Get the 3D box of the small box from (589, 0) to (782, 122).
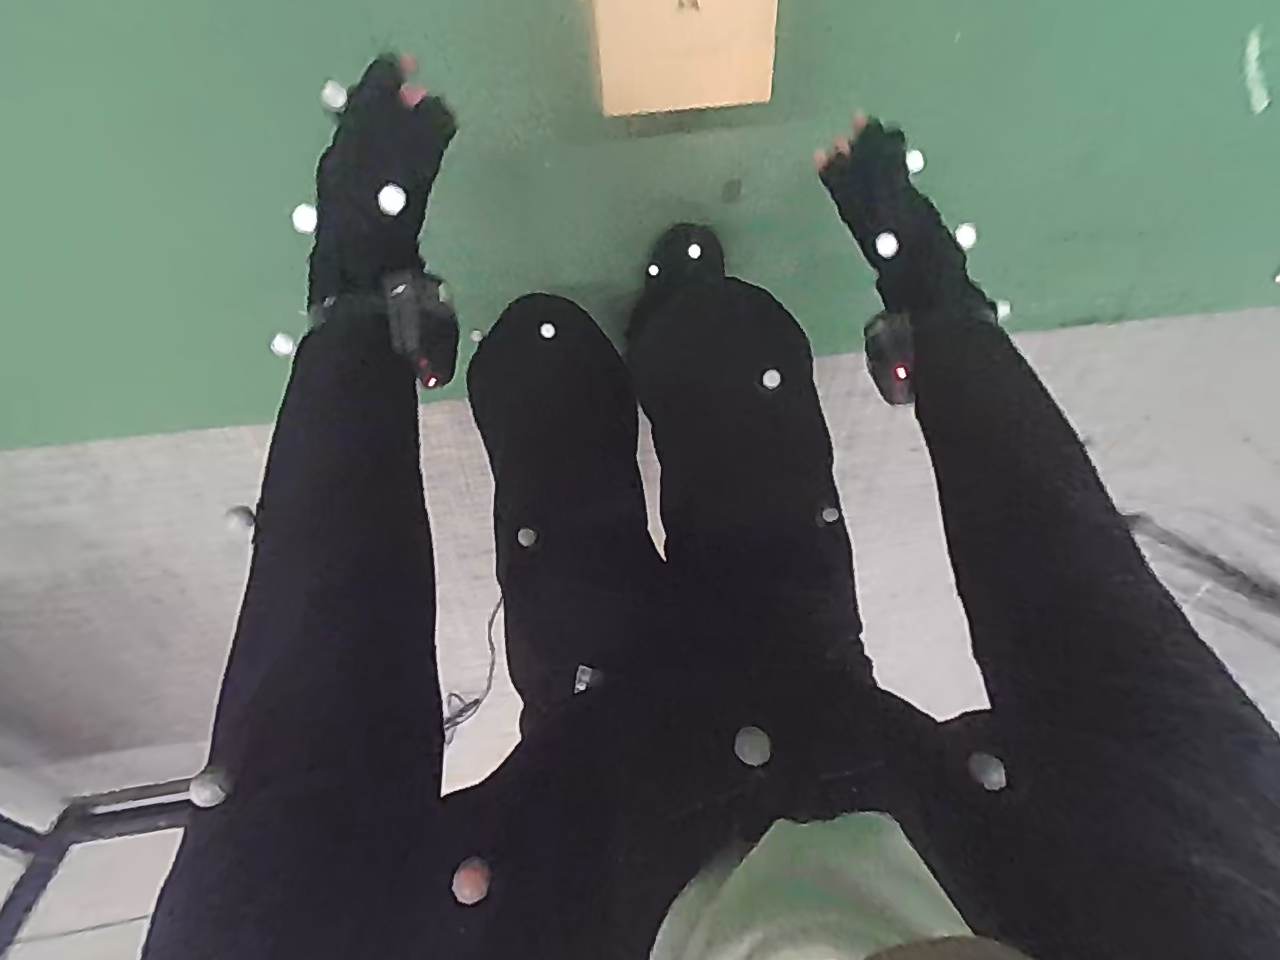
[{"bbox_3d":[0.035,-0.462,0.525,0.168,0.176,0.179,-4,129,-3],"label":"small box"}]
